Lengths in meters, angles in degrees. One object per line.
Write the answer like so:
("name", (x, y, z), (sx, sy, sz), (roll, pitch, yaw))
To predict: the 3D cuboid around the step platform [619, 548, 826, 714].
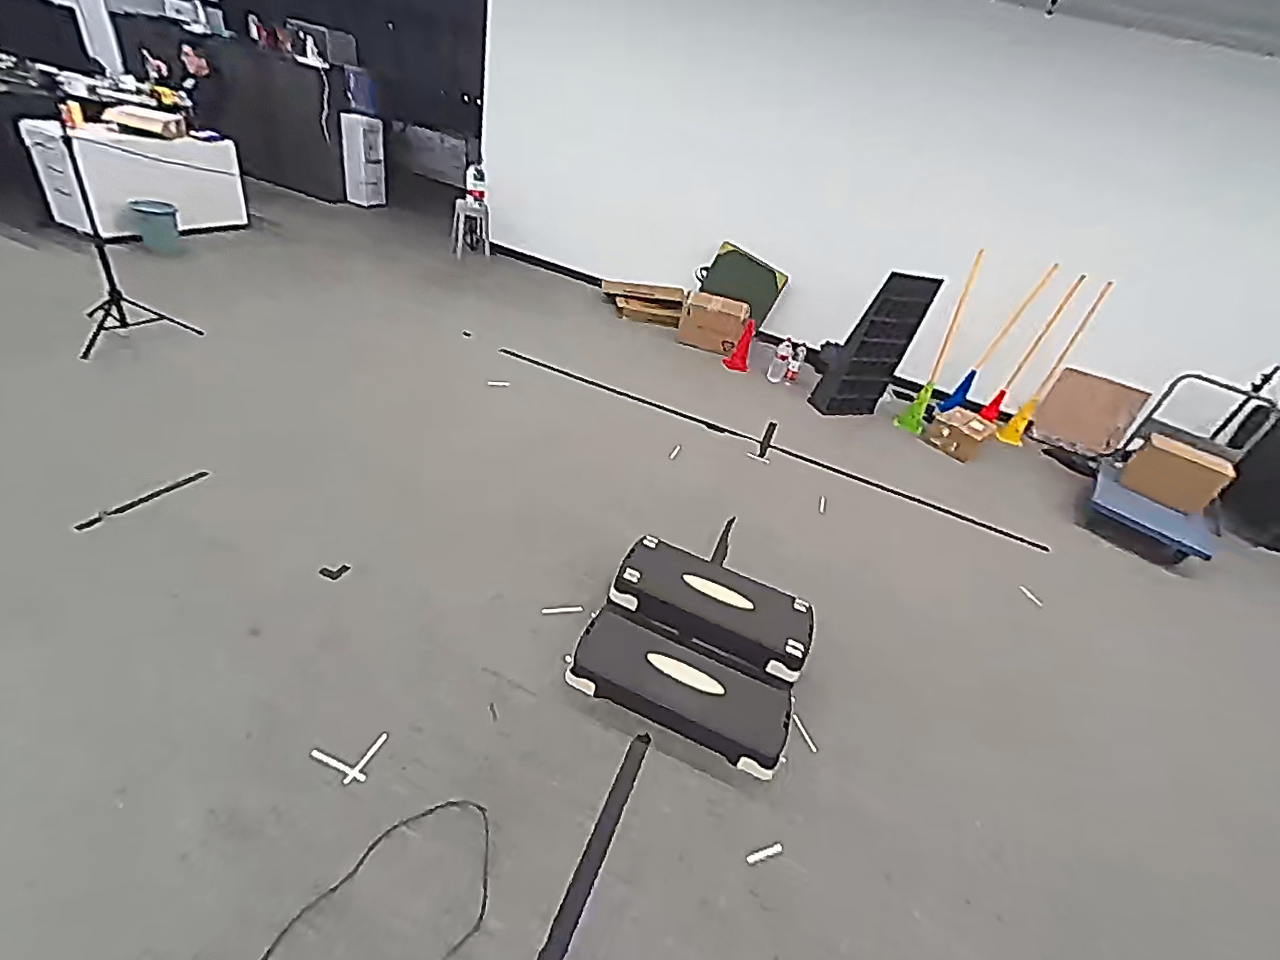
("step platform", (0.278, 0.493, 1.853), (0.684, 0.204, 0.286), (25, 34, 14))
